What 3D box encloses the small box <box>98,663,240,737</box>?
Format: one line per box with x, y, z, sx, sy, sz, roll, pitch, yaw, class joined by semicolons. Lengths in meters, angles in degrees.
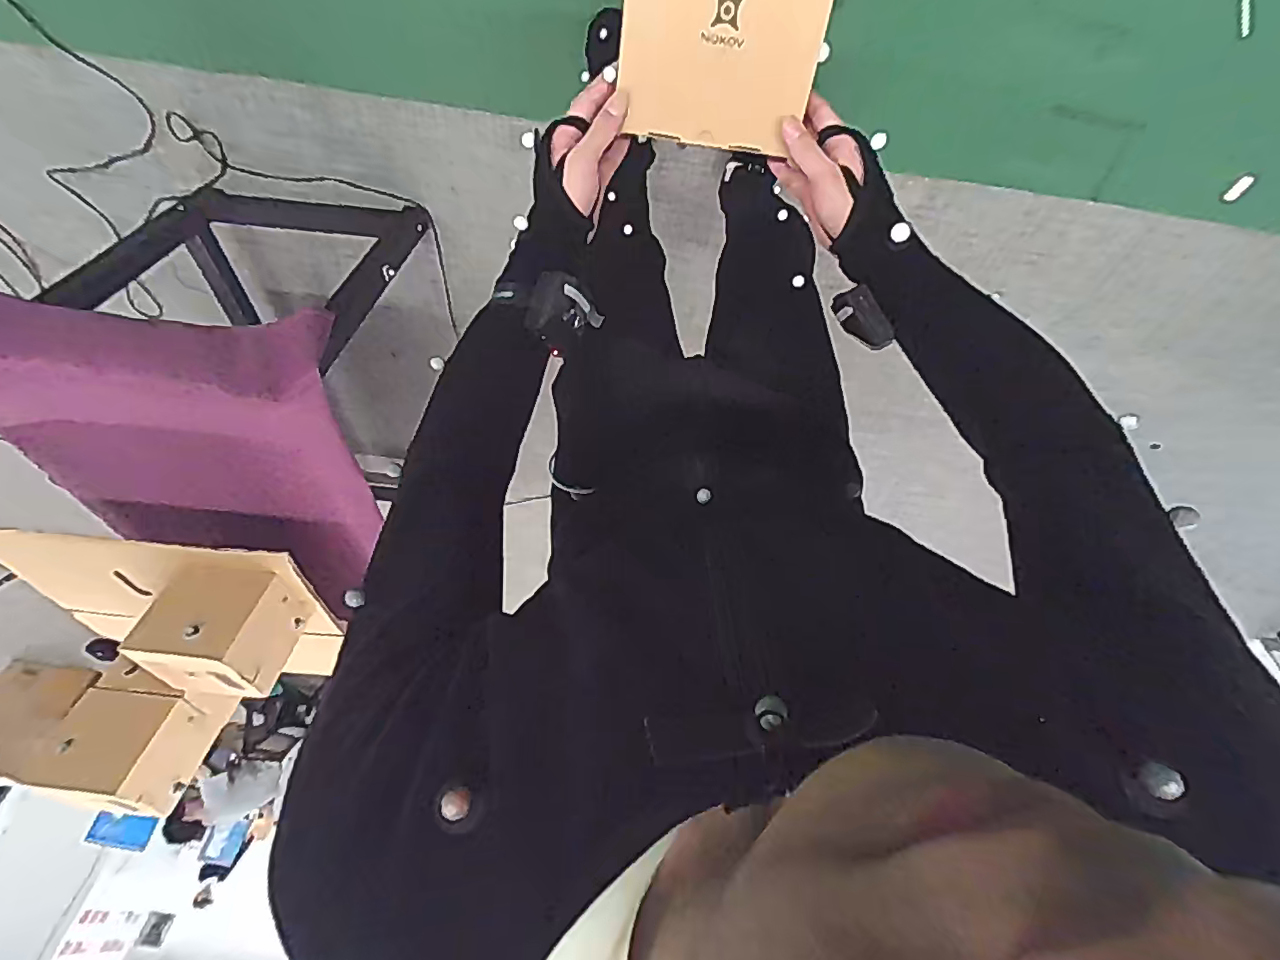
-0.933;0.412;1.125;0.179;0.176;0.168;6;136;0;small box

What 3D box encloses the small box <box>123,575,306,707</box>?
-0.741;0.288;0.974;0.179;0.176;0.168;6;137;1;small box

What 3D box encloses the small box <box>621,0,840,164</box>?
0.073;-0.413;0.501;0.168;0.176;0.179;6;126;-4;small box
